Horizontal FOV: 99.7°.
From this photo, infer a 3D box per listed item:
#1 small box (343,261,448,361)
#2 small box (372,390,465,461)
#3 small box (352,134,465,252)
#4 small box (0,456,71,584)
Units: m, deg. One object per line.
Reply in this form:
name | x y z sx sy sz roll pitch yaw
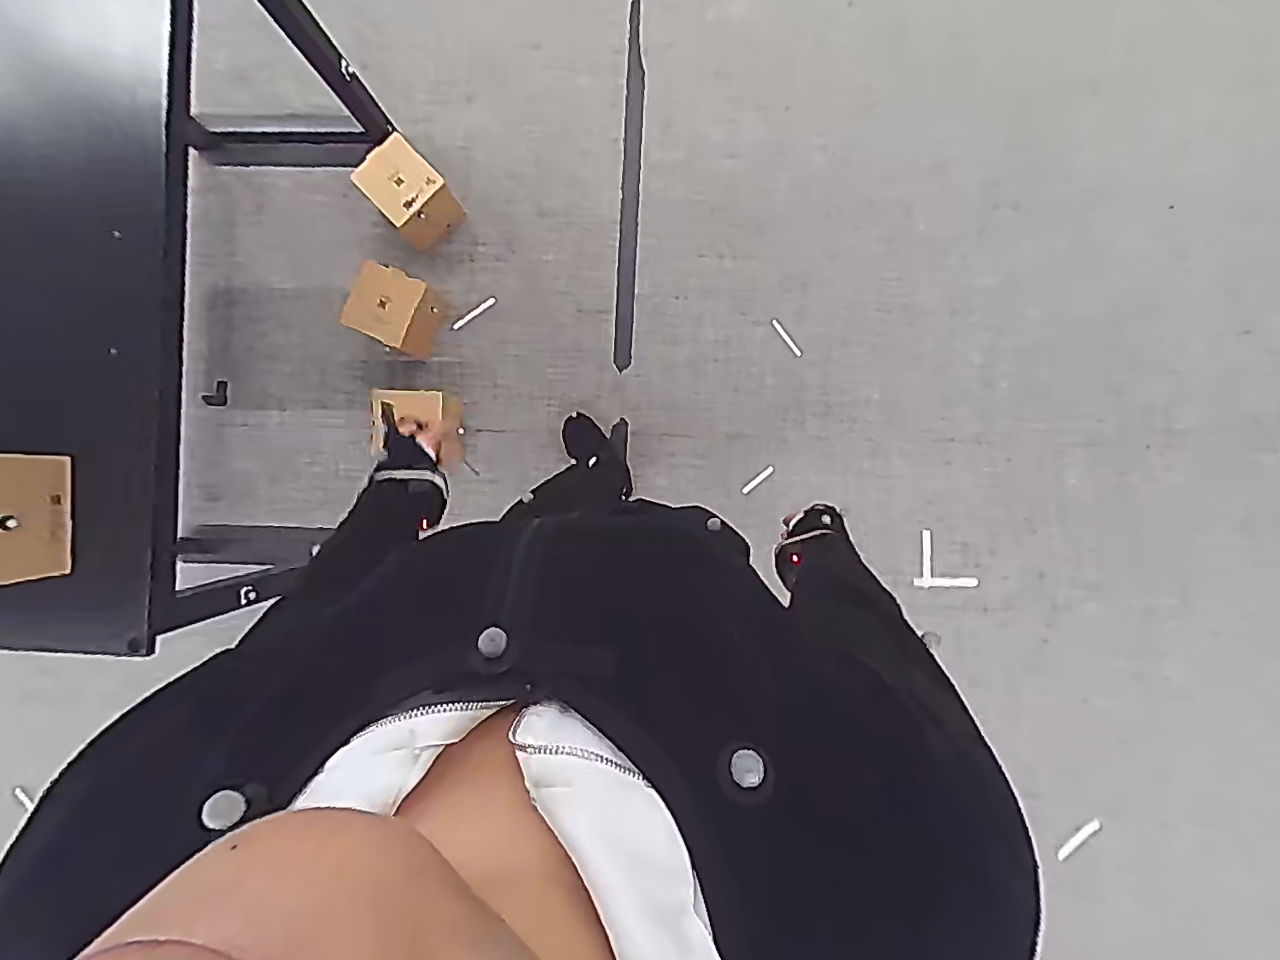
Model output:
small box | -0.627 -0.434 1.413 0.168 0.176 0.179 23 92 1
small box | -0.573 -0.137 1.413 0.179 0.176 0.168 1 91 -1
small box | -0.593 -0.735 1.407 0.168 0.176 0.179 -44 90 1
small box | -0.890 0.050 0.688 0.179 0.176 0.168 0 90 1
